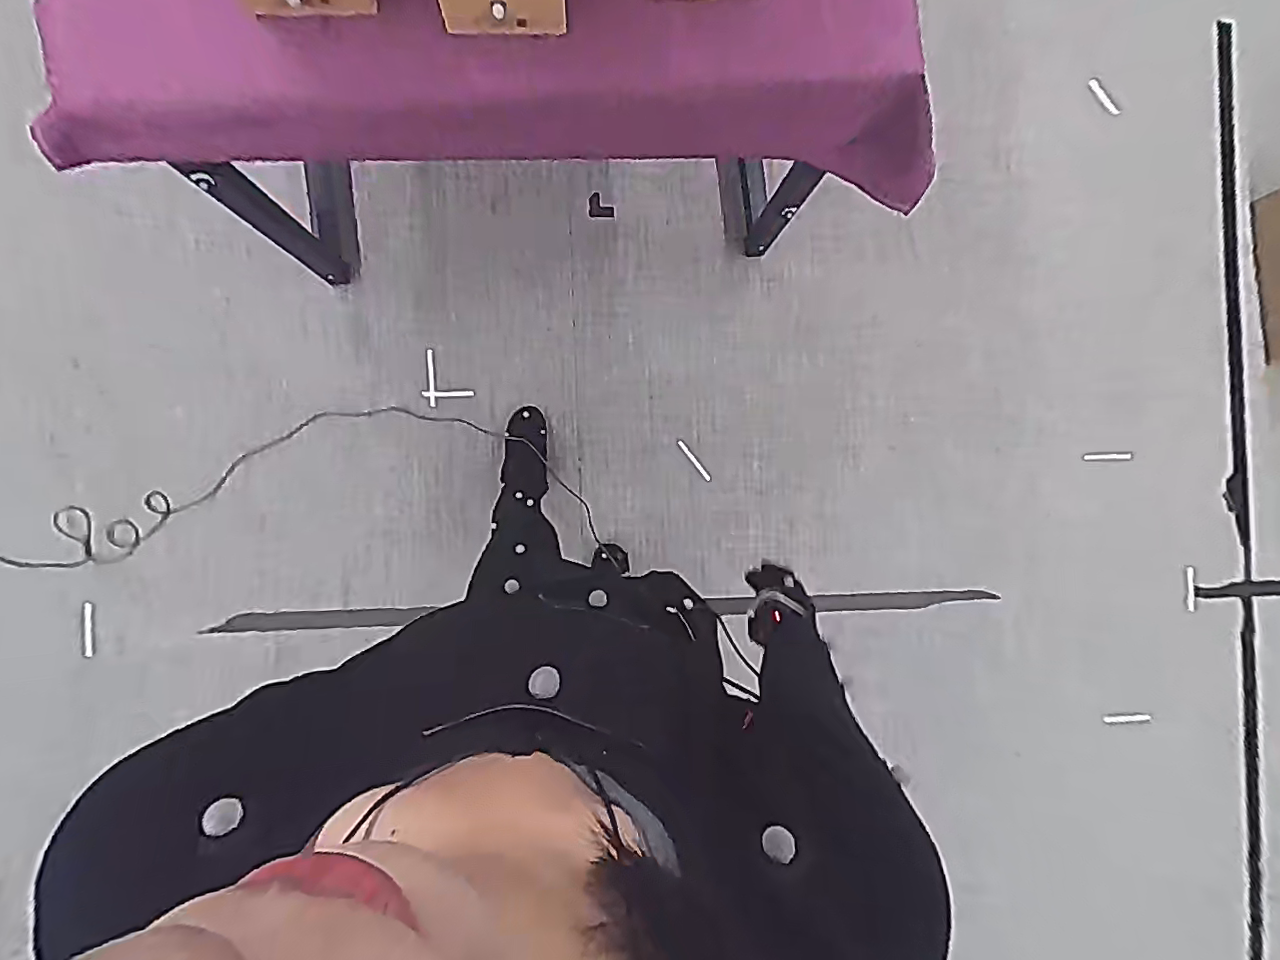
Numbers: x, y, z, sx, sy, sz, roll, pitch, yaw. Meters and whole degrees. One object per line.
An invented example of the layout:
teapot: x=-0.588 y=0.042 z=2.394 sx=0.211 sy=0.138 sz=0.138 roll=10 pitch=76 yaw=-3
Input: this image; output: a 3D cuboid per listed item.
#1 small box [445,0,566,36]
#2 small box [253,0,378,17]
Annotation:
small box: x=-0.182 y=-0.713 z=0.677 sx=0.168 sy=0.176 sz=0.179 roll=-3 pitch=91 yaw=-5
small box: x=-0.439 y=-0.718 z=0.655 sx=0.168 sy=0.176 sz=0.179 roll=-6 pitch=91 yaw=-4
